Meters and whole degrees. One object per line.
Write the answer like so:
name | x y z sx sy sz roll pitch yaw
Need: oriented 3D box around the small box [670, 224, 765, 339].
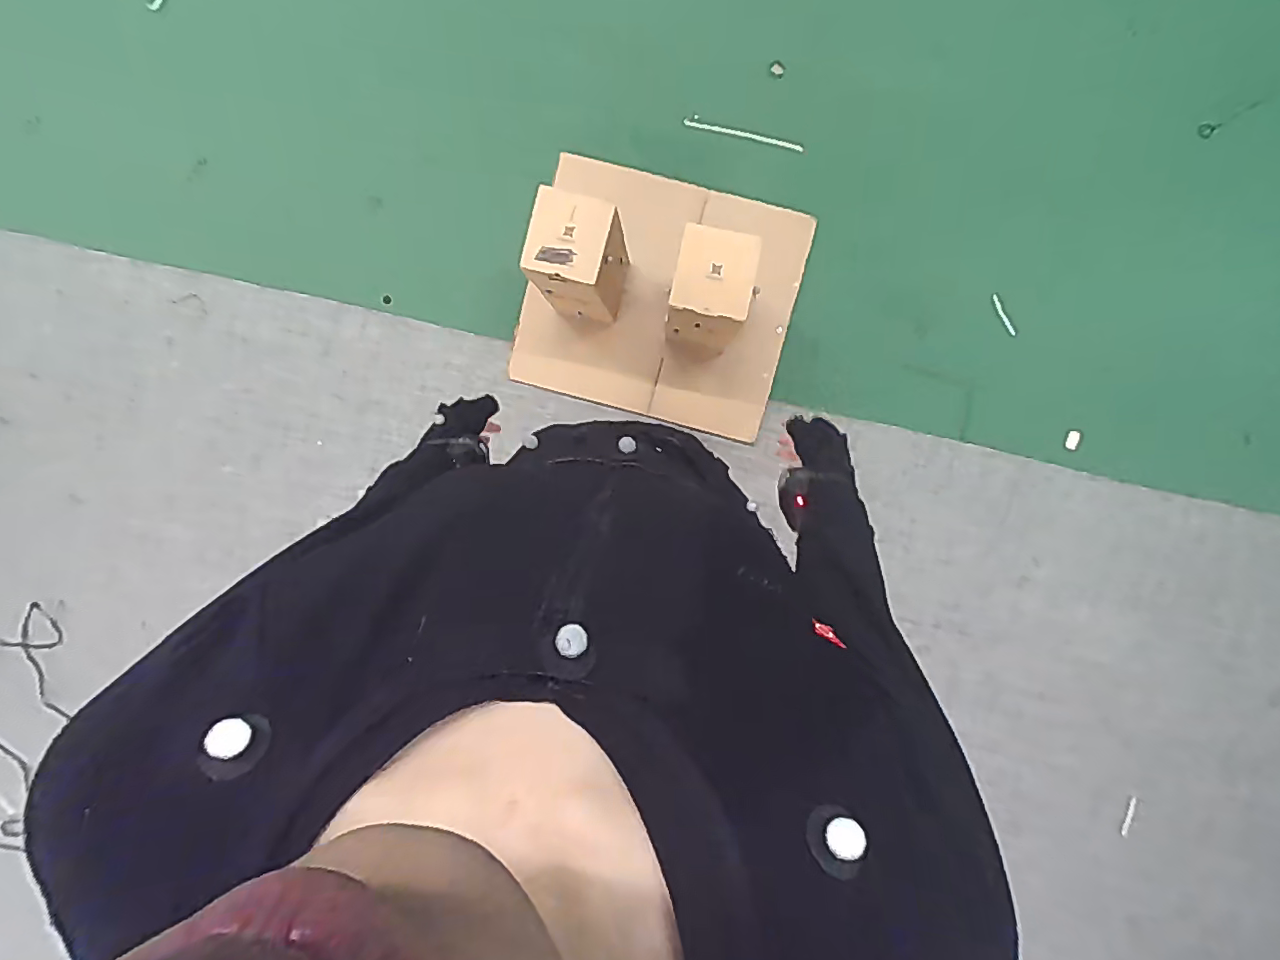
small box | 0.160 -0.423 1.177 0.168 0.176 0.179 12 94 2

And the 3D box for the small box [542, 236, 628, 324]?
small box | -0.130 -0.508 1.347 0.168 0.176 0.179 14 94 3

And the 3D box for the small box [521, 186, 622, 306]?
small box | -0.141 -0.500 1.183 0.168 0.176 0.179 16 93 3
